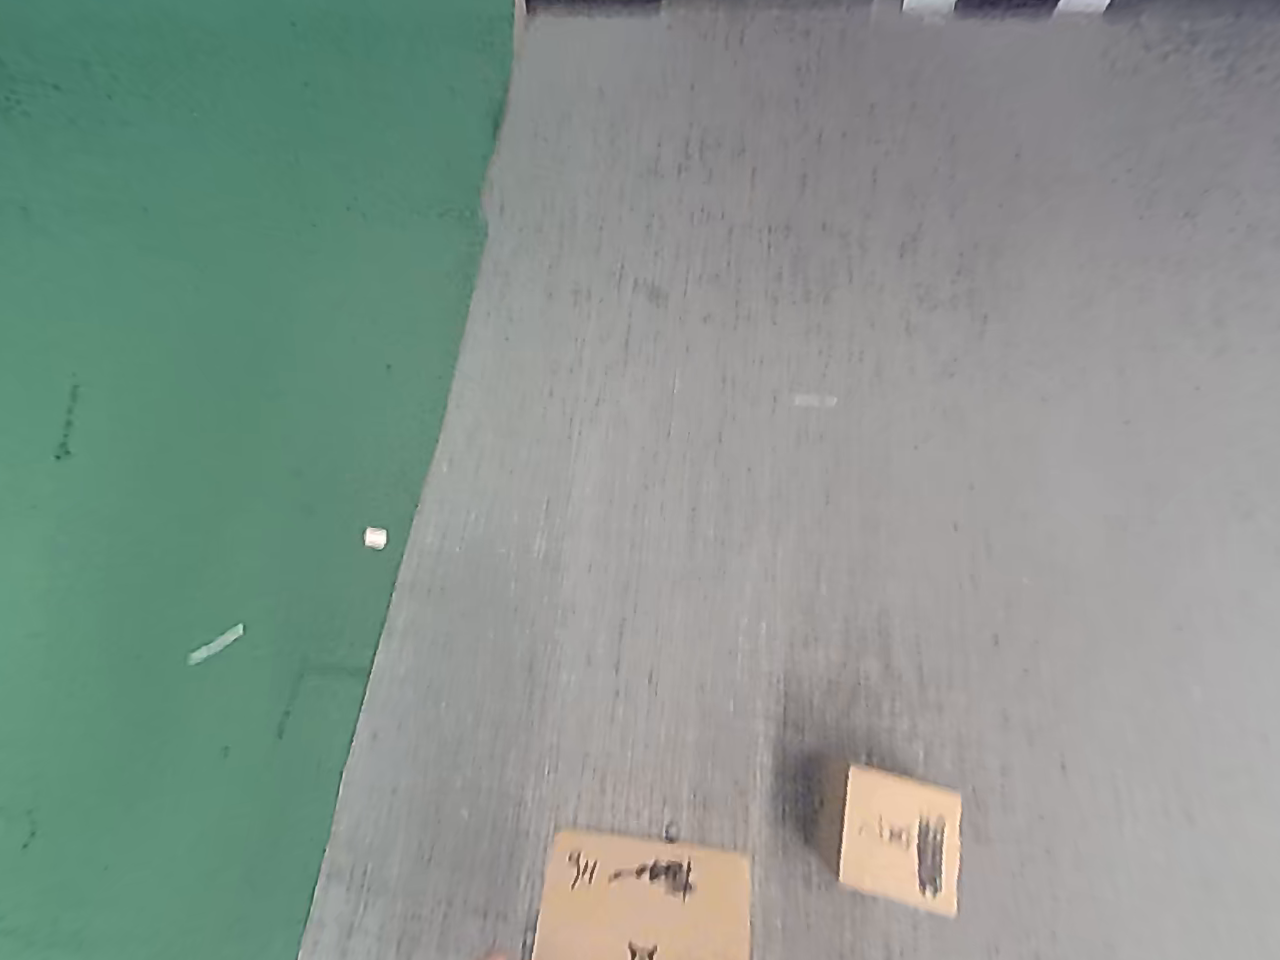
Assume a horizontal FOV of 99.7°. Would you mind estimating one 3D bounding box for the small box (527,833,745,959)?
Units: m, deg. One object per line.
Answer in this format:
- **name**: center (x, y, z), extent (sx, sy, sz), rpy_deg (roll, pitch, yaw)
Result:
- **small box**: center (-0.002, 0.422, 0.468), extent (0.168, 0.176, 0.179), rpy_deg (5, 58, 6)
